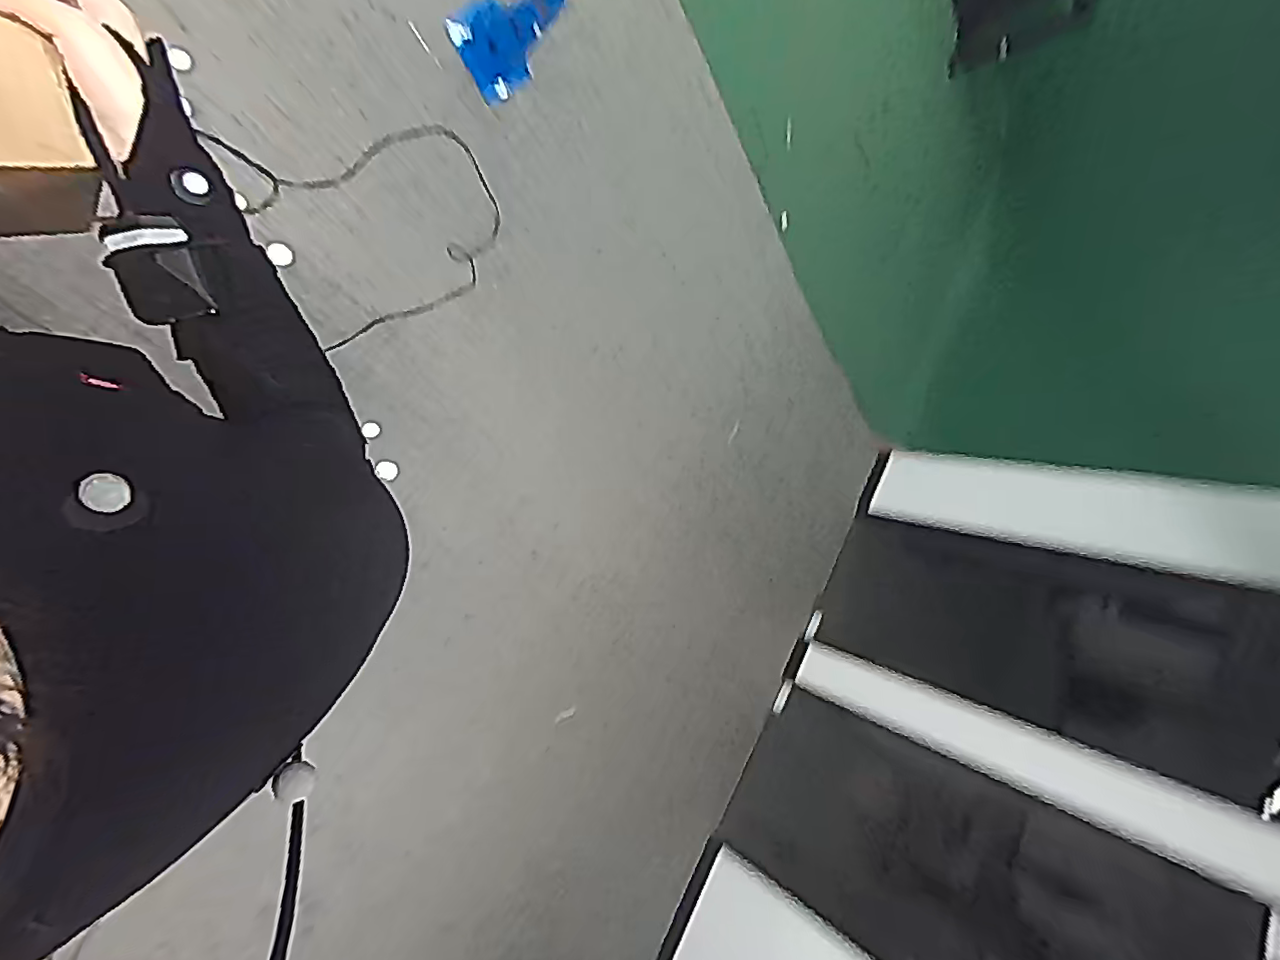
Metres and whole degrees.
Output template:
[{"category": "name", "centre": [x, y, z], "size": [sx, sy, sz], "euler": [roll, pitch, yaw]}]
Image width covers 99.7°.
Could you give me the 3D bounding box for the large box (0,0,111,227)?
[{"category": "large box", "centre": [-0.618, -0.313, 0.281], "size": [0.408, 0.320, 0.320], "euler": [-27, 120, -42]}]

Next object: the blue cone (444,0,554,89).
[{"category": "blue cone", "centre": [-0.319, -1.189, 1.385], "size": [0.192, 0.380, 0.193], "euler": [-53, 130, -24]}]
